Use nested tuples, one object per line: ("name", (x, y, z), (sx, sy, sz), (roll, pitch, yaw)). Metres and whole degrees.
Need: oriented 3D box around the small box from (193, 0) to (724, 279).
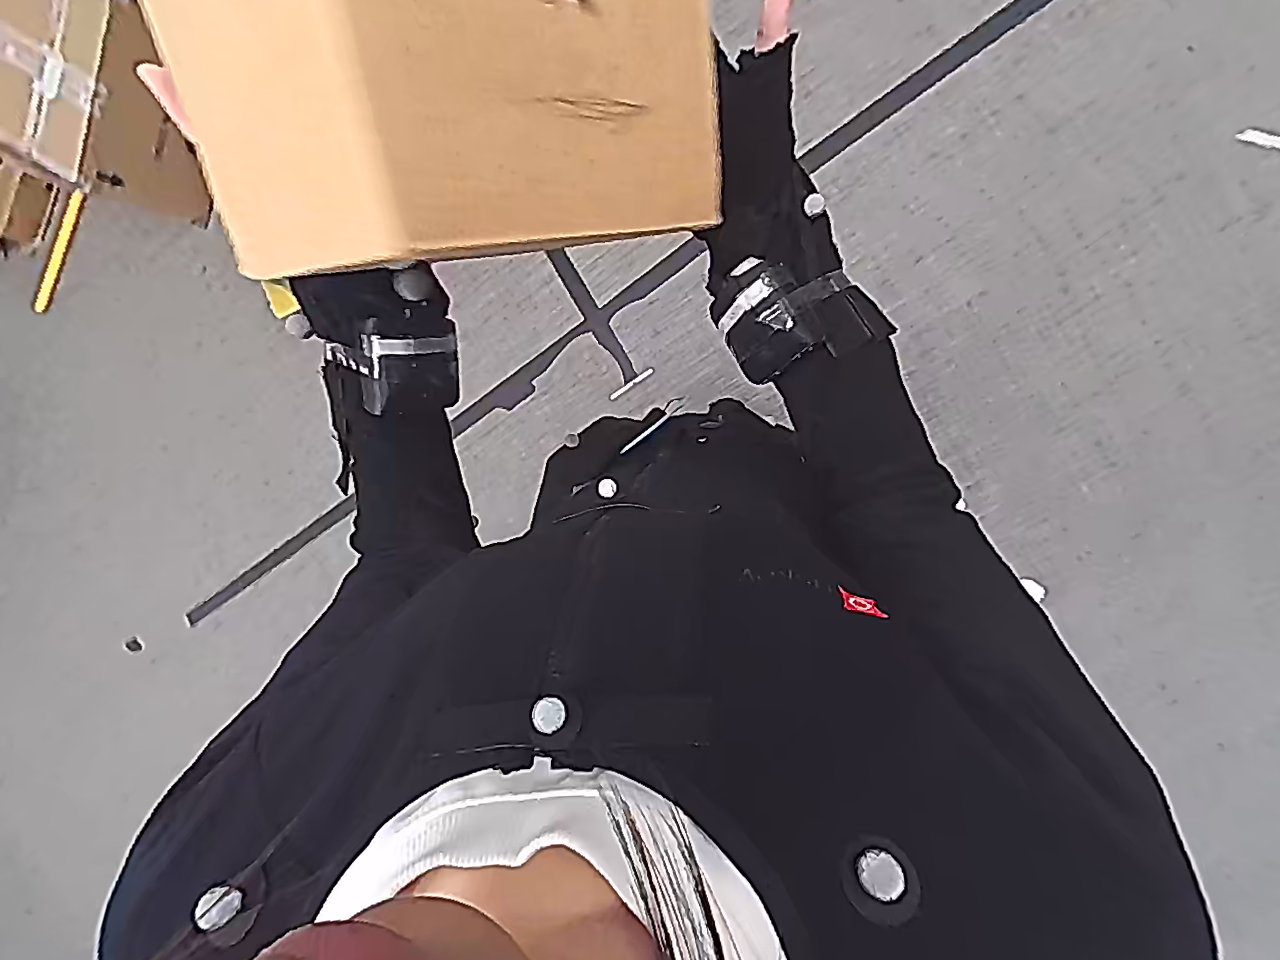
("small box", (-0.078, -0.195, 0.247), (0.176, 0.168, 0.179), (14, 120, 38))
